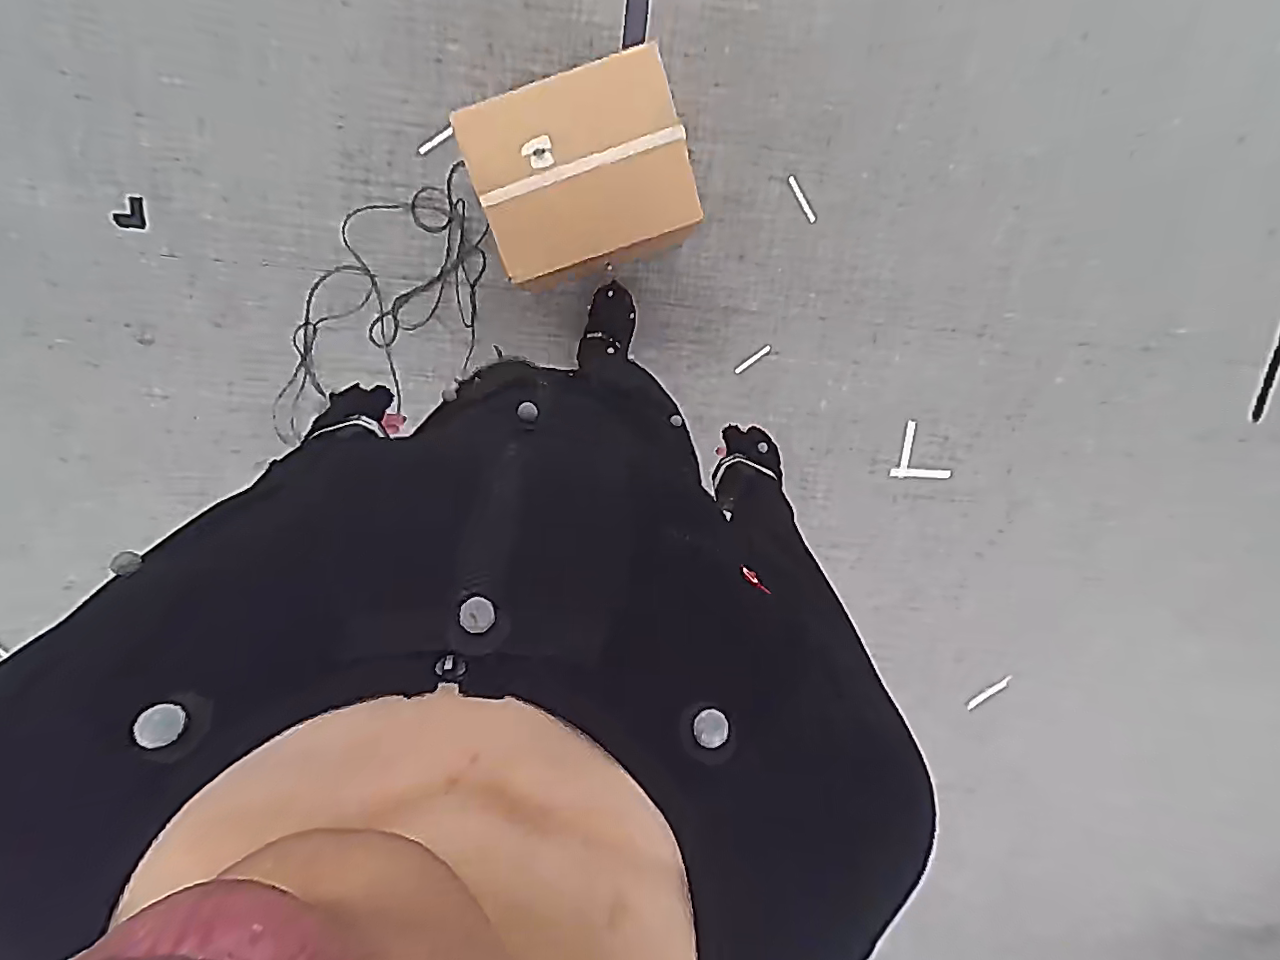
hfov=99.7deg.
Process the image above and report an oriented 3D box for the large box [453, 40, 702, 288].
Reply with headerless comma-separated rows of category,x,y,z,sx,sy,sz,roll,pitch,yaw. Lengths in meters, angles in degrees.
large box,-0.117,-0.636,1.165,0.408,0.320,0.320,-18,105,3
